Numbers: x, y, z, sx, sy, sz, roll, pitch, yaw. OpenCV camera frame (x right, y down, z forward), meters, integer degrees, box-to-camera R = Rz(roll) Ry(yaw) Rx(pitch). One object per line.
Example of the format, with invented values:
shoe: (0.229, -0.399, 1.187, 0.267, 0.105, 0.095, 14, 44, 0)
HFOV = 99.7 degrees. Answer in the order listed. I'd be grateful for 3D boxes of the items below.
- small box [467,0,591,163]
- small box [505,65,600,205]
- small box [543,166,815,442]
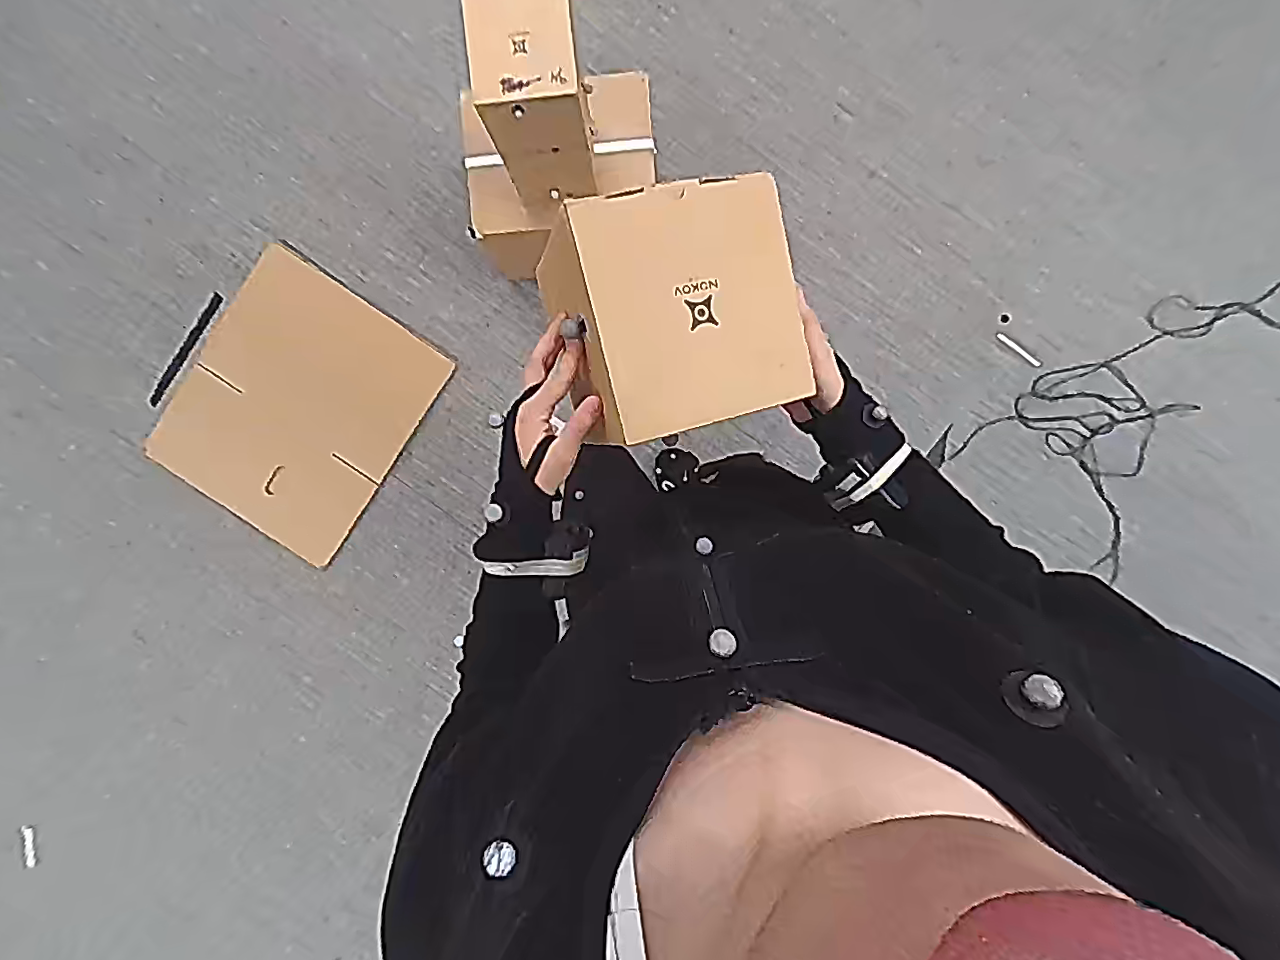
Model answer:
small box: (-0.178, -0.673, 0.908, 0.168, 0.176, 0.179, -6, 92, 2)
small box: (-0.174, -0.677, 1.073, 0.168, 0.176, 0.179, -6, 93, 2)
small box: (0.021, -0.137, 0.474, 0.168, 0.176, 0.179, -17, 97, -15)
